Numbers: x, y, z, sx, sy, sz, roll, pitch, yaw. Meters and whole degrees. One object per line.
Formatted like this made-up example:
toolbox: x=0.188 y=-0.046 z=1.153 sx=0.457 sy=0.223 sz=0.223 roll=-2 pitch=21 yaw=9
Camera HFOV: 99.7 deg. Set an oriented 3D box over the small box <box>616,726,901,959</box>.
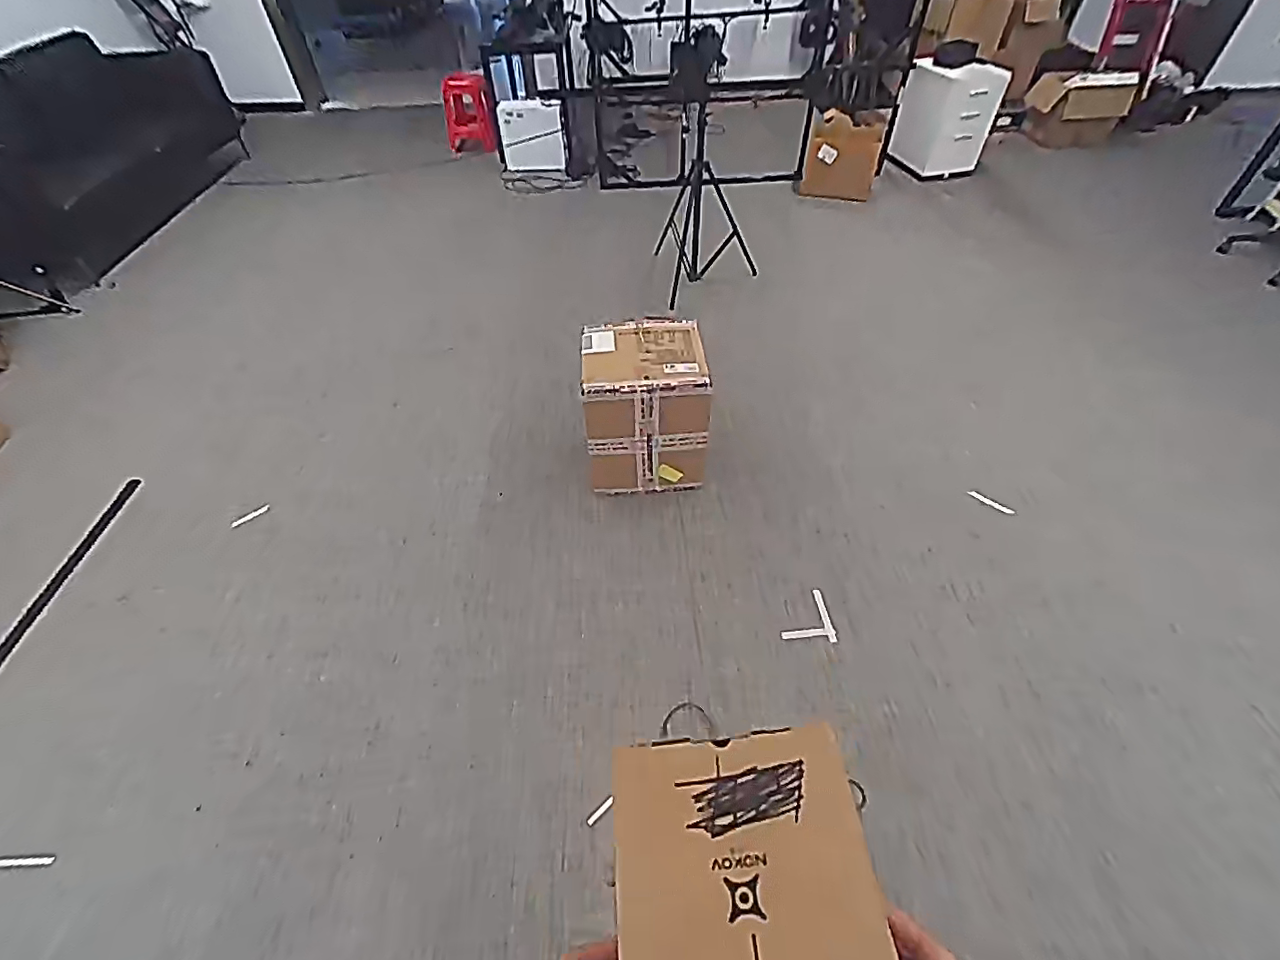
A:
small box: x=0.074 y=0.305 z=0.403 sx=0.168 sy=0.176 sz=0.179 roll=-7 pitch=50 yaw=1
